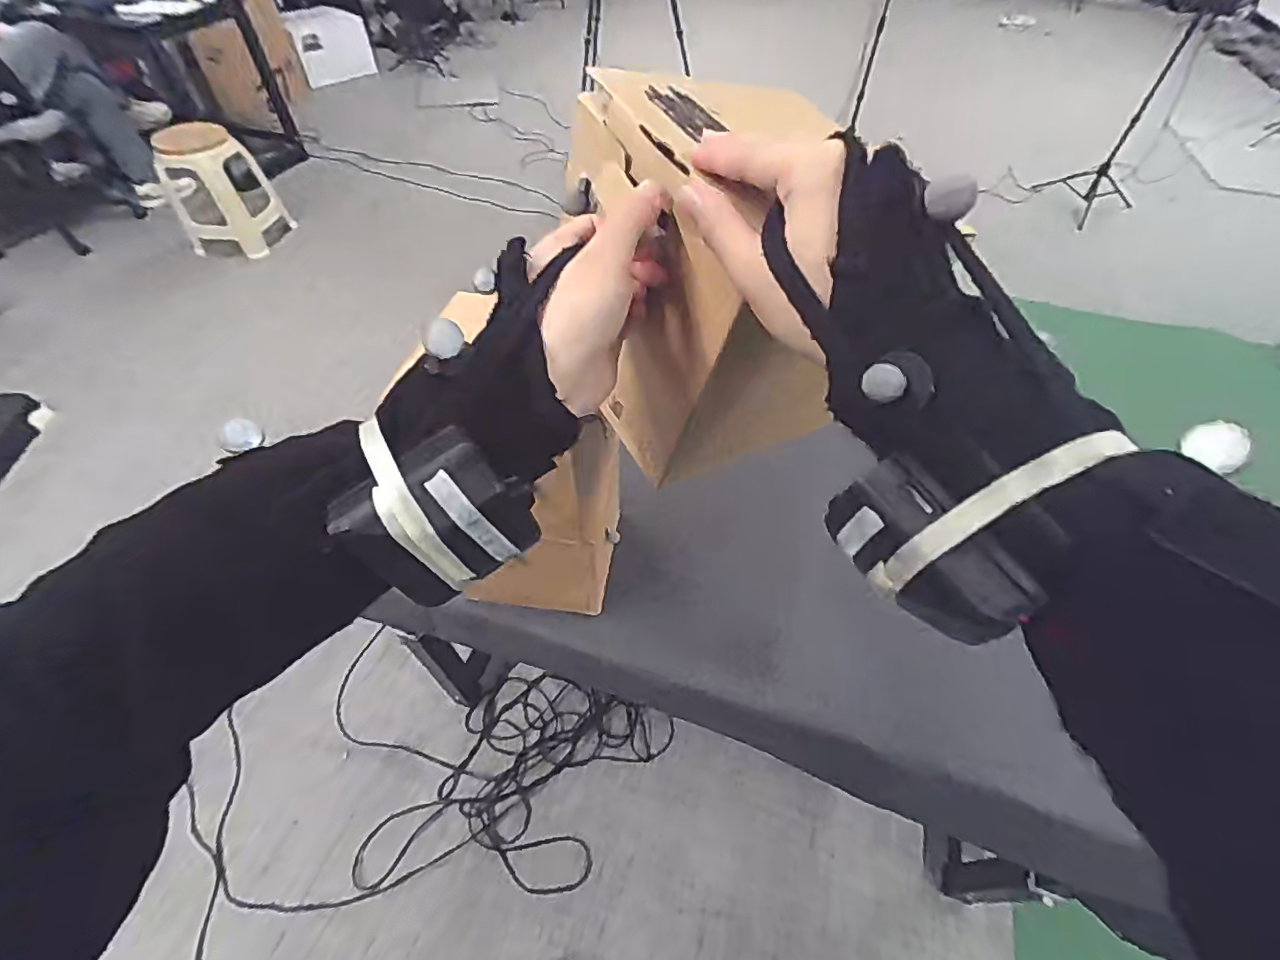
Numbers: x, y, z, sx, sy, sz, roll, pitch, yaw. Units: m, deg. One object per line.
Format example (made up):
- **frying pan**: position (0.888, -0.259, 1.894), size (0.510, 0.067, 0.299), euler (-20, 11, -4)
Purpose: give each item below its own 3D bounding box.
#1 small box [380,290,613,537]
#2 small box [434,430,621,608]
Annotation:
- **small box**: position (-0.122, -0.063, 0.547), size (0.168, 0.176, 0.179), euler (9, 50, 4)
- **small box**: position (-0.121, 0.044, 0.670), size (0.179, 0.176, 0.168), euler (6, 51, 4)
